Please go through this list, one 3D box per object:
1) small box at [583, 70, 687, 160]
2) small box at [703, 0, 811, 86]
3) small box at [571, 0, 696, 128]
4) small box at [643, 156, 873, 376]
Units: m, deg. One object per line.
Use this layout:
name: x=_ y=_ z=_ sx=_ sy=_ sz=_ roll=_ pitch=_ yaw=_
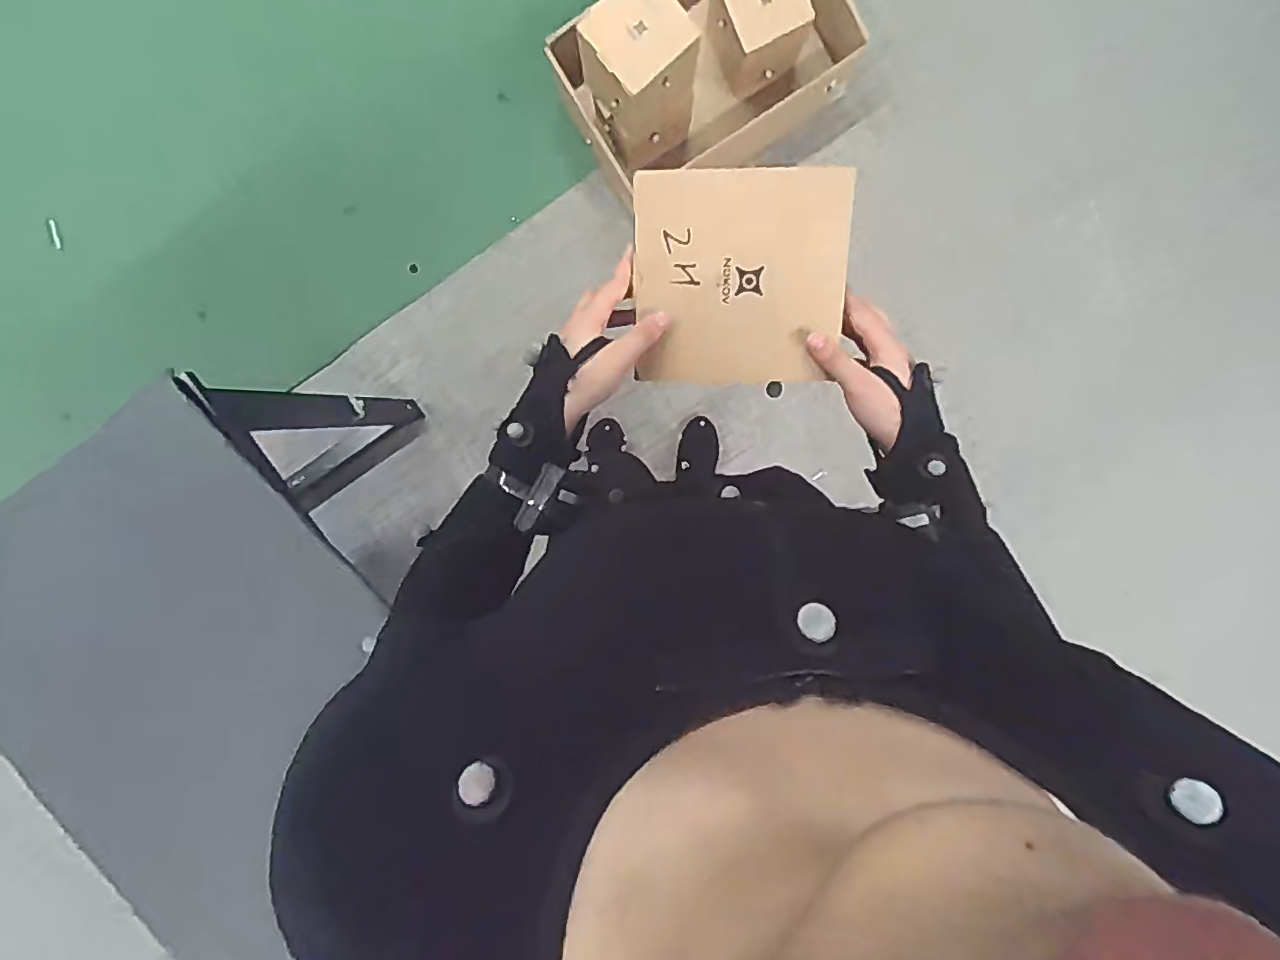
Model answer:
small box: x=-0.008 y=-0.878 z=1.235 sx=0.179 sy=0.176 sz=0.168 roll=-31 pitch=97 yaw=5
small box: x=0.252 y=-1.046 z=1.212 sx=0.168 sy=0.176 sz=0.179 roll=-25 pitch=98 yaw=4
small box: x=-0.012 y=-0.854 z=1.073 sx=0.179 sy=0.176 sz=0.168 roll=-41 pitch=97 yaw=3
small box: x=0.093 y=-0.190 z=0.511 sx=0.179 sy=0.176 sz=0.168 roll=1 pitch=106 yaw=2
